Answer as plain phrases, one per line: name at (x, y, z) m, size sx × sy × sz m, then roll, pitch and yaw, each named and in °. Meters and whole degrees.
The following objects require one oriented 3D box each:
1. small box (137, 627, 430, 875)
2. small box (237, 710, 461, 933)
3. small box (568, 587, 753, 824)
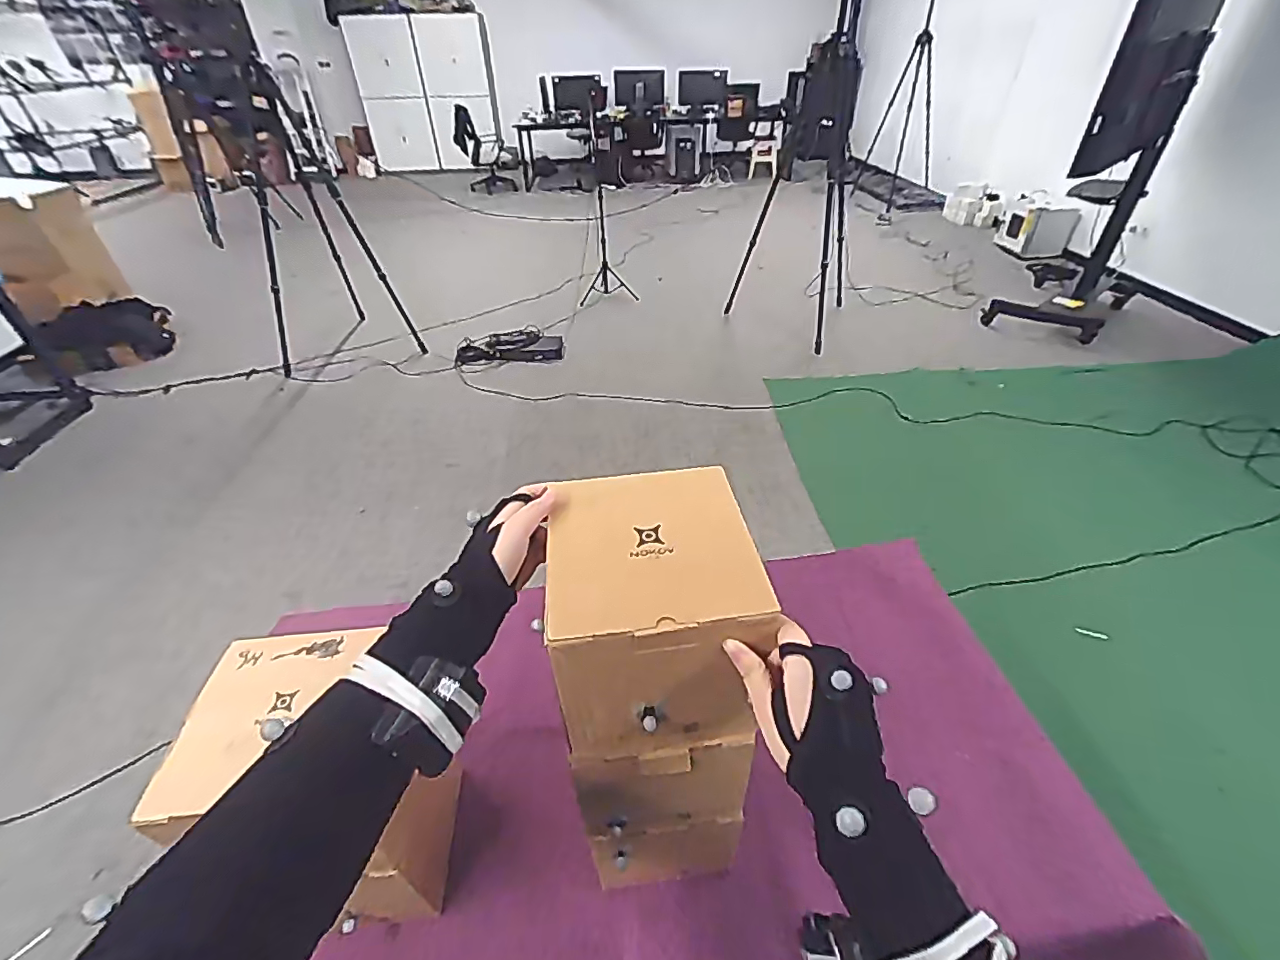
small box at (-0.330, 0.278, 0.553) m, size 0.168 × 0.176 × 0.179 m, roll -4°, pitch 39°, yaw -4°
small box at (-0.325, 0.408, 0.653) m, size 0.168 × 0.176 × 0.179 m, roll -5°, pitch 39°, yaw -3°
small box at (0.014, 0.243, 0.581) m, size 0.168 × 0.176 × 0.179 m, roll -6°, pitch 38°, yaw -4°
